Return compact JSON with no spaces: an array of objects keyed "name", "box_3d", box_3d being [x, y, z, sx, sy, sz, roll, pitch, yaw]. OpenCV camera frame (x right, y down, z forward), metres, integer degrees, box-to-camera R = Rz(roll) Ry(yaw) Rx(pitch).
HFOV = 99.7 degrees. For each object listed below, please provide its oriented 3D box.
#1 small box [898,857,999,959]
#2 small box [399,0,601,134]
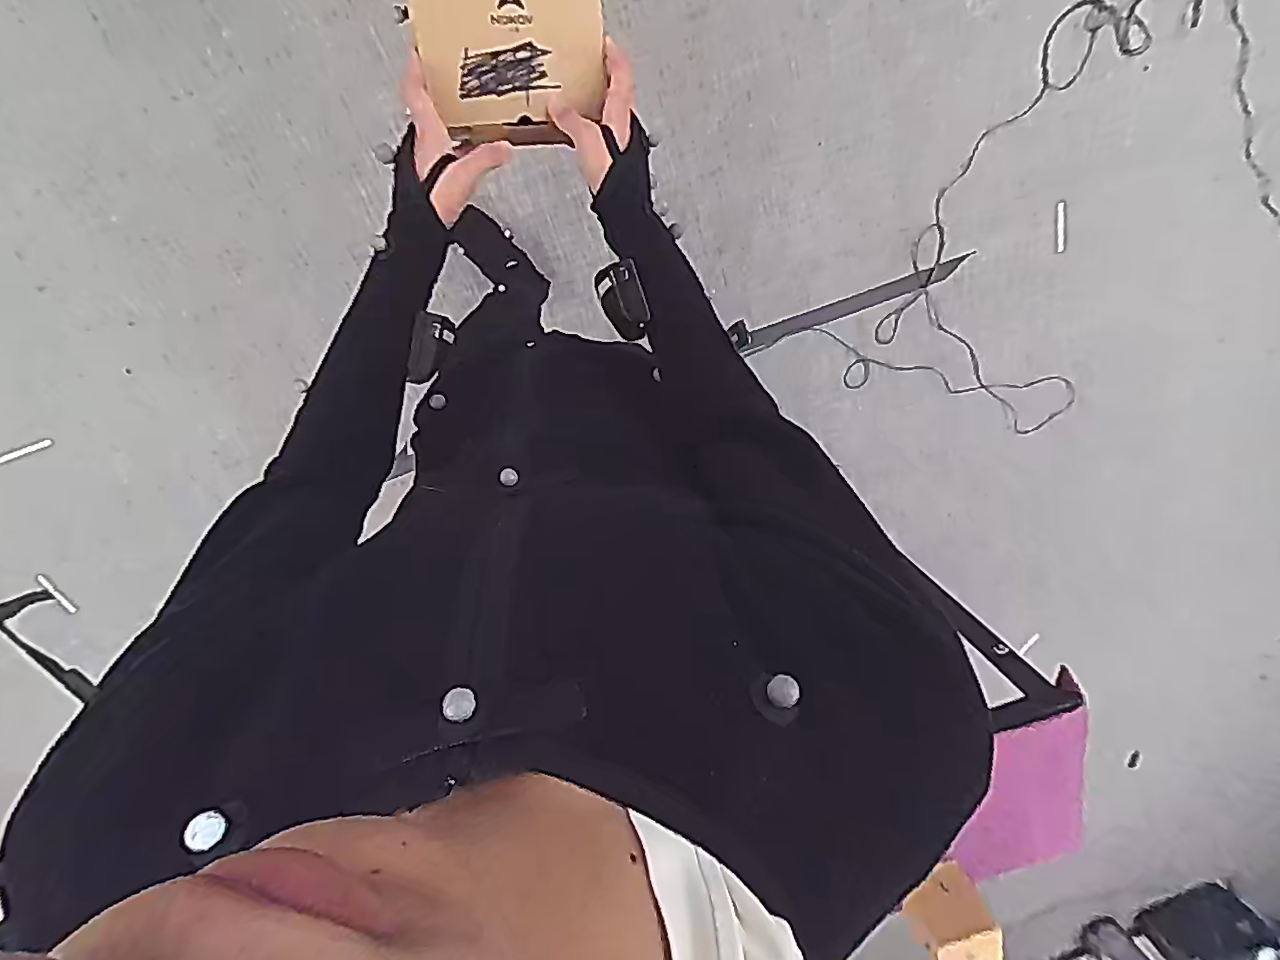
[{"name":"small box","box_3d":[0.804,1.138,1.418,0.168,0.176,0.179,-18,114,0]},{"name":"small box","box_3d":[-0.142,-0.444,0.524,0.168,0.176,0.179,-12,119,-15]}]
